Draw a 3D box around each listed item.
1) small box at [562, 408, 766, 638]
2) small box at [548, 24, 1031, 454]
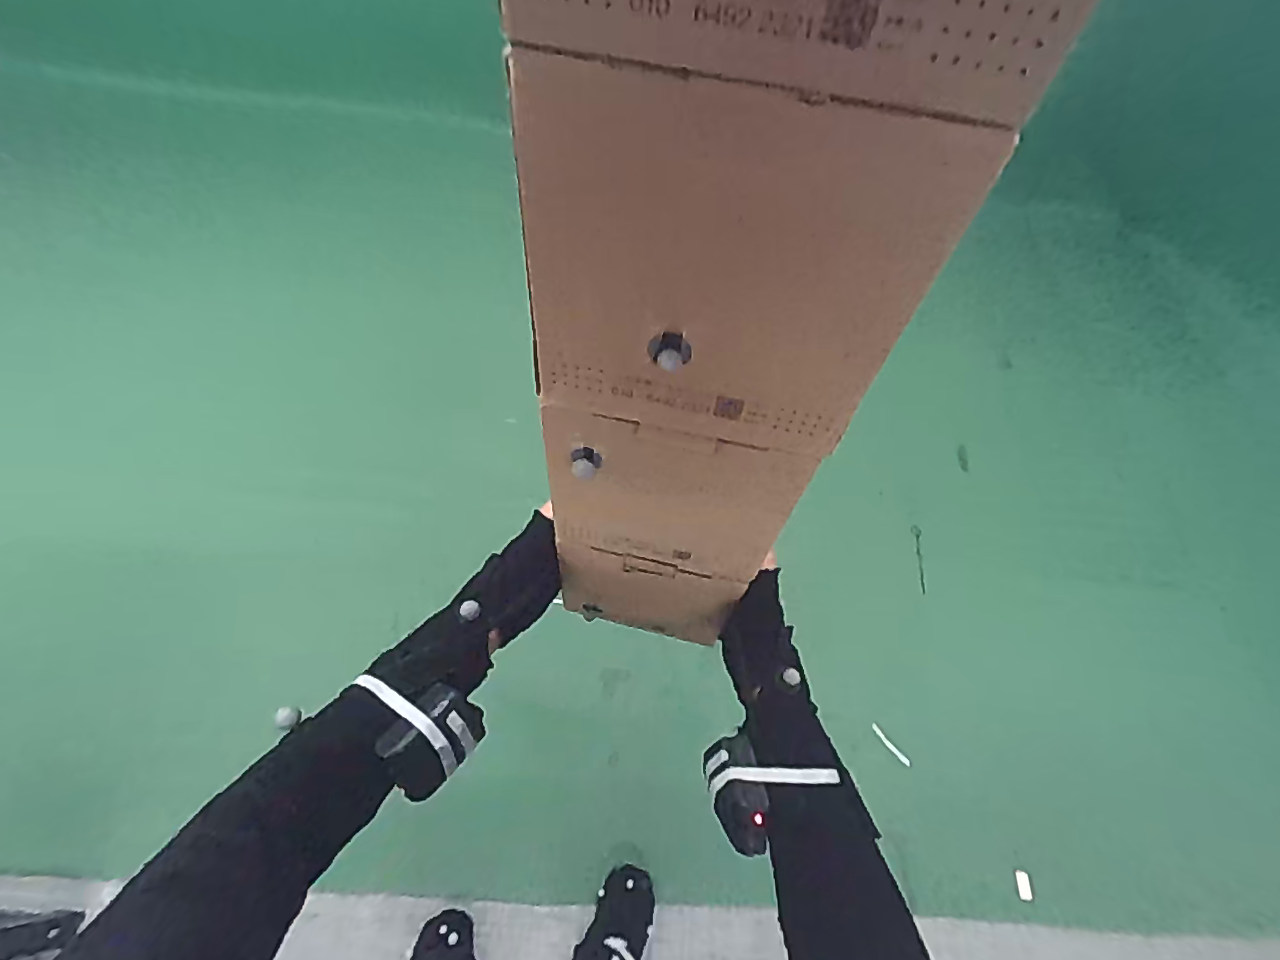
[{"bbox_3d":[0.025,0.046,0.556,0.168,0.176,0.179,11,57,2],"label":"small box"},{"bbox_3d":[0.054,-0.143,0.290,0.168,0.176,0.179,12,55,2],"label":"small box"}]
